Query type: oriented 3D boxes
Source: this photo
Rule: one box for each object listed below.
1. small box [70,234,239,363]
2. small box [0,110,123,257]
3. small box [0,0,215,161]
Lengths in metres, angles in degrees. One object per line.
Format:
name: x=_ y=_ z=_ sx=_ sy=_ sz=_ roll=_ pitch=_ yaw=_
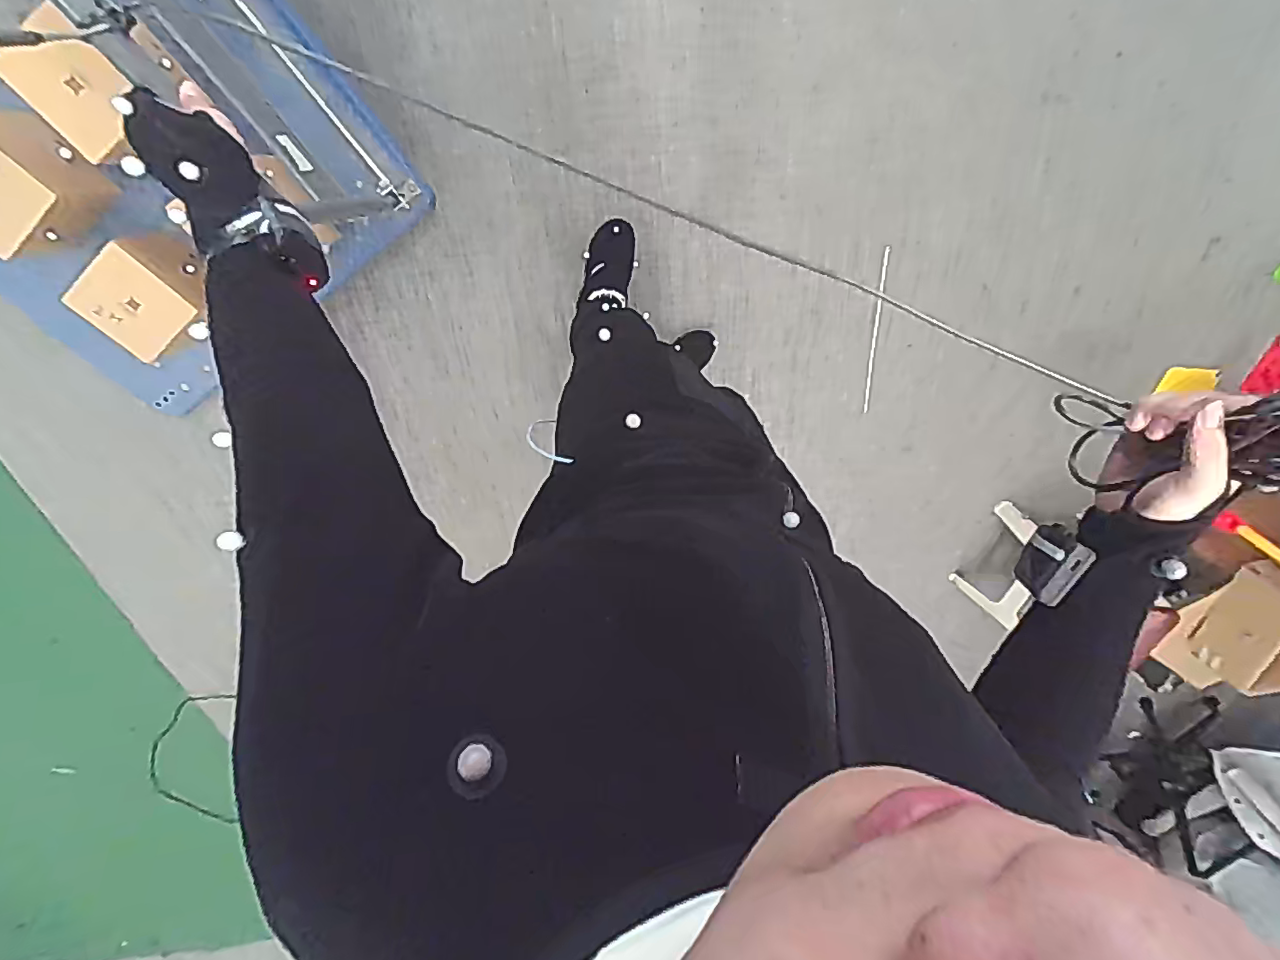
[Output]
small box: x=-0.974 y=-0.378 z=1.108 sx=0.179 sy=0.176 sz=0.168 roll=-35 pitch=117 yaw=14
small box: x=-1.126 y=-0.543 z=0.993 sx=0.179 sy=0.176 sz=0.168 roll=-35 pitch=119 yaw=14
small box: x=-0.901 y=-0.681 z=0.937 sx=0.179 sy=0.176 sz=0.168 roll=-31 pitch=119 yaw=11
